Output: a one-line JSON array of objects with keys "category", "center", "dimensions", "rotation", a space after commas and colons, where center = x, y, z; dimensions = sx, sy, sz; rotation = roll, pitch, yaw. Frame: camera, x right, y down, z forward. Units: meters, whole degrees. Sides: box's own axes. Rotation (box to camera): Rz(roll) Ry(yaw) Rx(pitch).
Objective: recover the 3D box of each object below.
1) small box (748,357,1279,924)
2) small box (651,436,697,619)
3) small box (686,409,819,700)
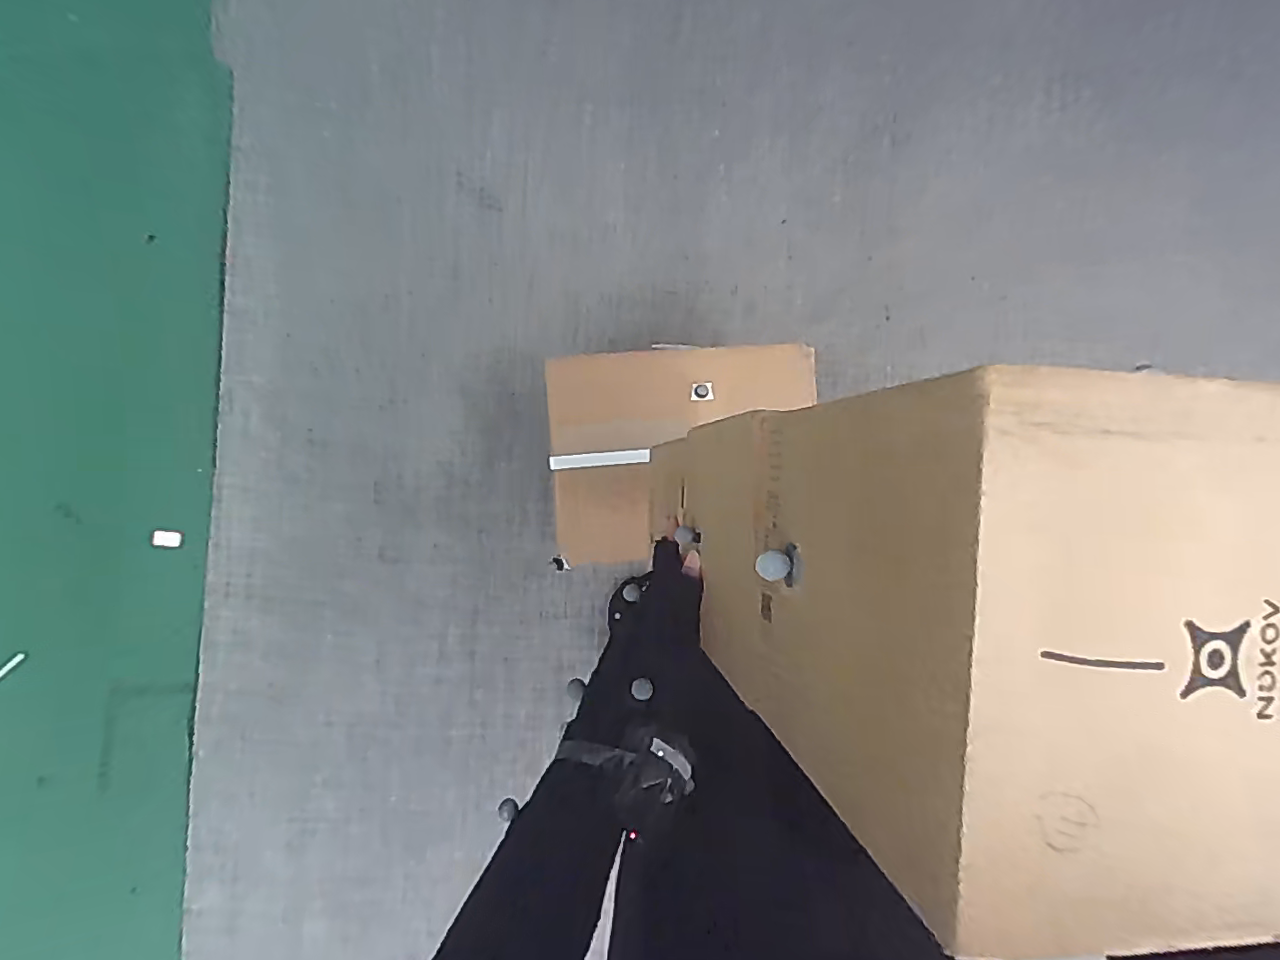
[{"category": "small box", "center": [0.163, 0.049, 0.244], "dimensions": [0.179, 0.176, 0.168], "rotation": [3, 90, -6]}, {"category": "small box", "center": [0.109, 0.043, 0.569], "dimensions": [0.179, 0.176, 0.168], "rotation": [1, 92, -10]}, {"category": "small box", "center": [0.133, 0.042, 0.407], "dimensions": [0.168, 0.176, 0.179], "rotation": [0, 92, -8]}]
